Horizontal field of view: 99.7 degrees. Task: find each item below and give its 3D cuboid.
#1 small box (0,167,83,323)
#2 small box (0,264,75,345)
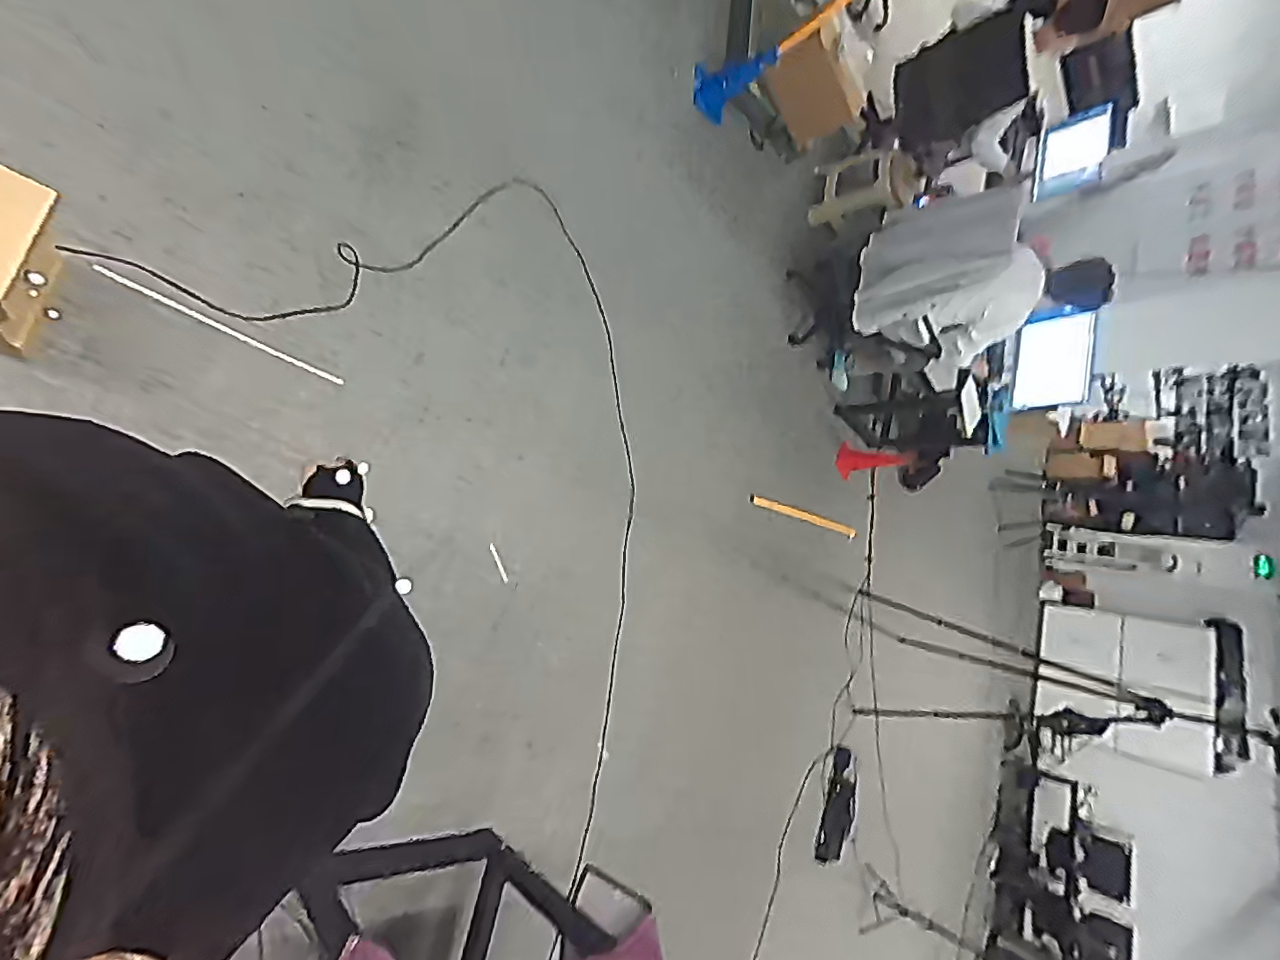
[{"bbox_3d":[-0.897,-0.328,0.722,0.179,0.176,0.168,24,74,-39],"label":"small box"},{"bbox_3d":[-1.017,-0.328,0.832,0.168,0.176,0.179,24,74,-41],"label":"small box"}]
